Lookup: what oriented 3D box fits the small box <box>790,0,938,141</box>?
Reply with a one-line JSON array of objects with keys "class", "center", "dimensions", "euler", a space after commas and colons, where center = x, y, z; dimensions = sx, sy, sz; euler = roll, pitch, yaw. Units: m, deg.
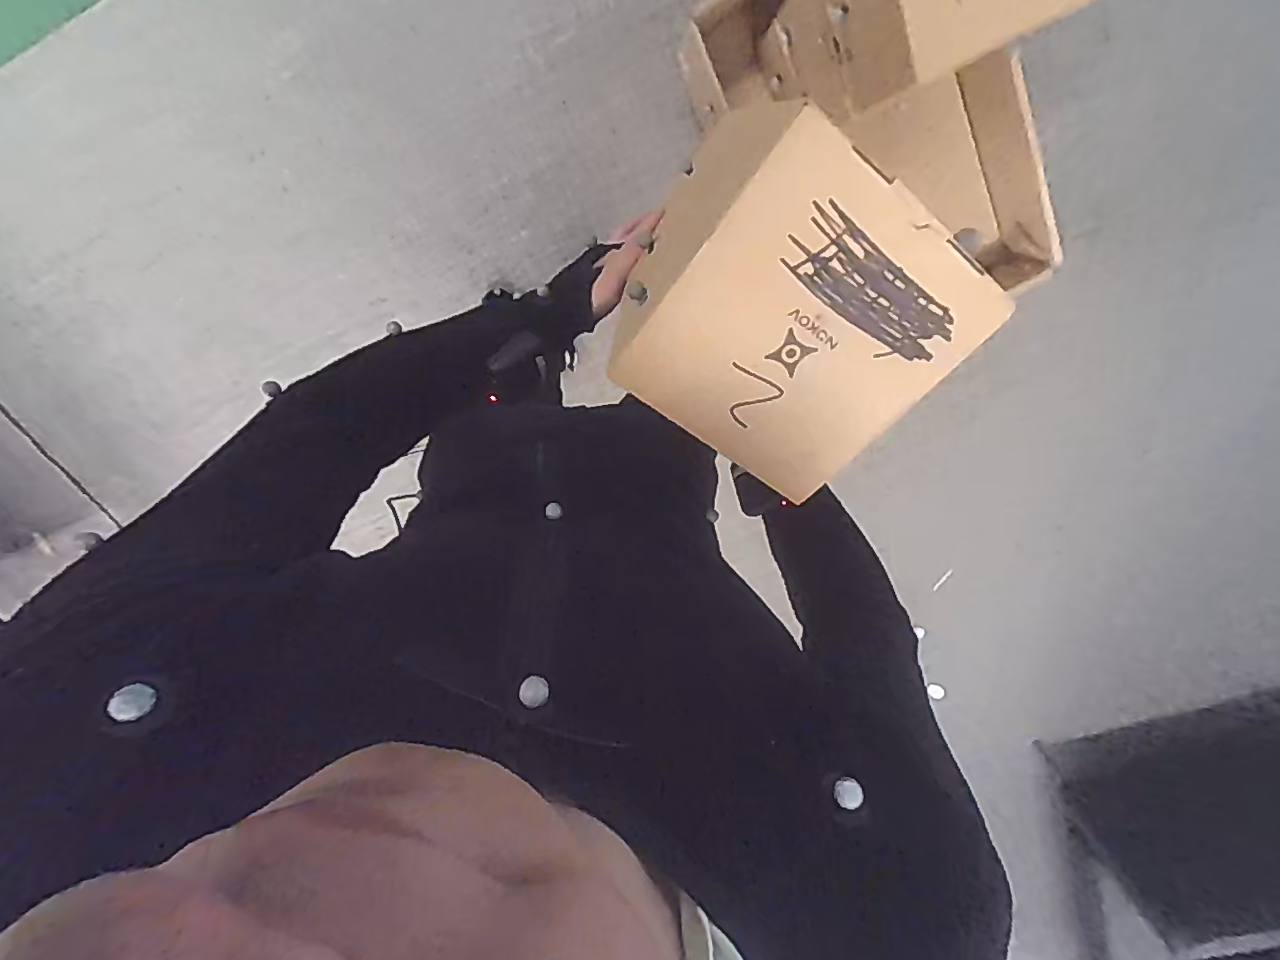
[{"class": "small box", "center": [0.301, -0.554, 0.674], "dimensions": [0.179, 0.176, 0.168], "euler": [-24, 113, 9]}]

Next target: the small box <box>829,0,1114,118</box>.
[{"class": "small box", "center": [0.305, -0.489, 0.525], "dimensions": [0.179, 0.176, 0.168], "euler": [-22, 113, 10]}]

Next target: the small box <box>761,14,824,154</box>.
[{"class": "small box", "center": [0.298, -0.627, 0.822], "dimensions": [0.179, 0.176, 0.168], "euler": [-27, 113, 11]}]

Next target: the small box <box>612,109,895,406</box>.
[{"class": "small box", "center": [0.094, -0.209, 0.511], "dimensions": [0.168, 0.176, 0.179], "euler": [32, 119, -18]}]
